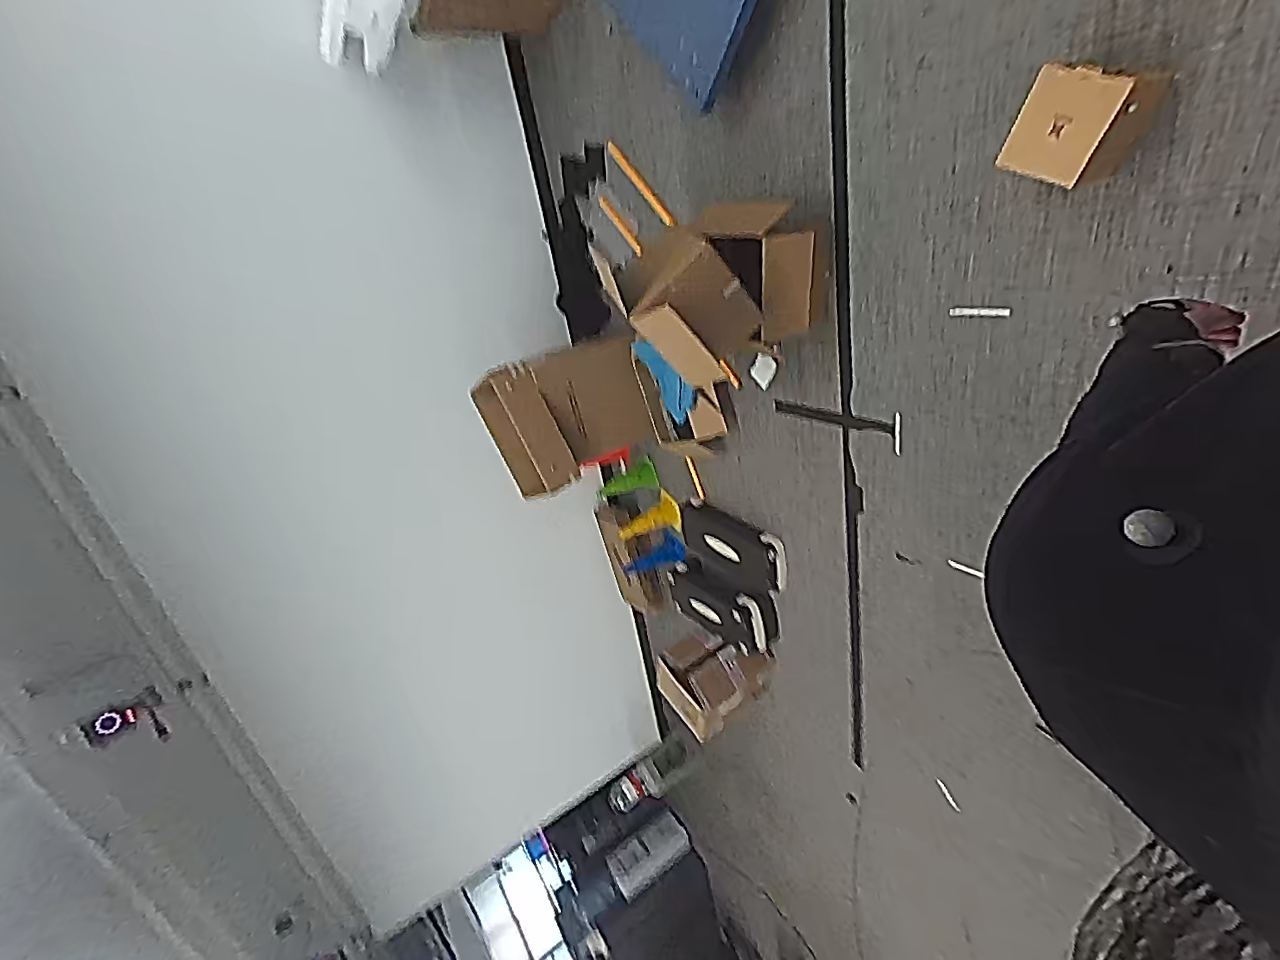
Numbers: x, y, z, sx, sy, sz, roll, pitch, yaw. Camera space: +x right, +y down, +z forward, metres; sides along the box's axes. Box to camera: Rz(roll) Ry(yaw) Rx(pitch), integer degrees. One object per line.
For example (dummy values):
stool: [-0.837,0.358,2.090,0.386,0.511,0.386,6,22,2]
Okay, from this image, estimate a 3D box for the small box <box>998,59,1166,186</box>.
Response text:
small box: [0.866,-0.706,1.064,0.168,0.176,0.179,47,147,34]
